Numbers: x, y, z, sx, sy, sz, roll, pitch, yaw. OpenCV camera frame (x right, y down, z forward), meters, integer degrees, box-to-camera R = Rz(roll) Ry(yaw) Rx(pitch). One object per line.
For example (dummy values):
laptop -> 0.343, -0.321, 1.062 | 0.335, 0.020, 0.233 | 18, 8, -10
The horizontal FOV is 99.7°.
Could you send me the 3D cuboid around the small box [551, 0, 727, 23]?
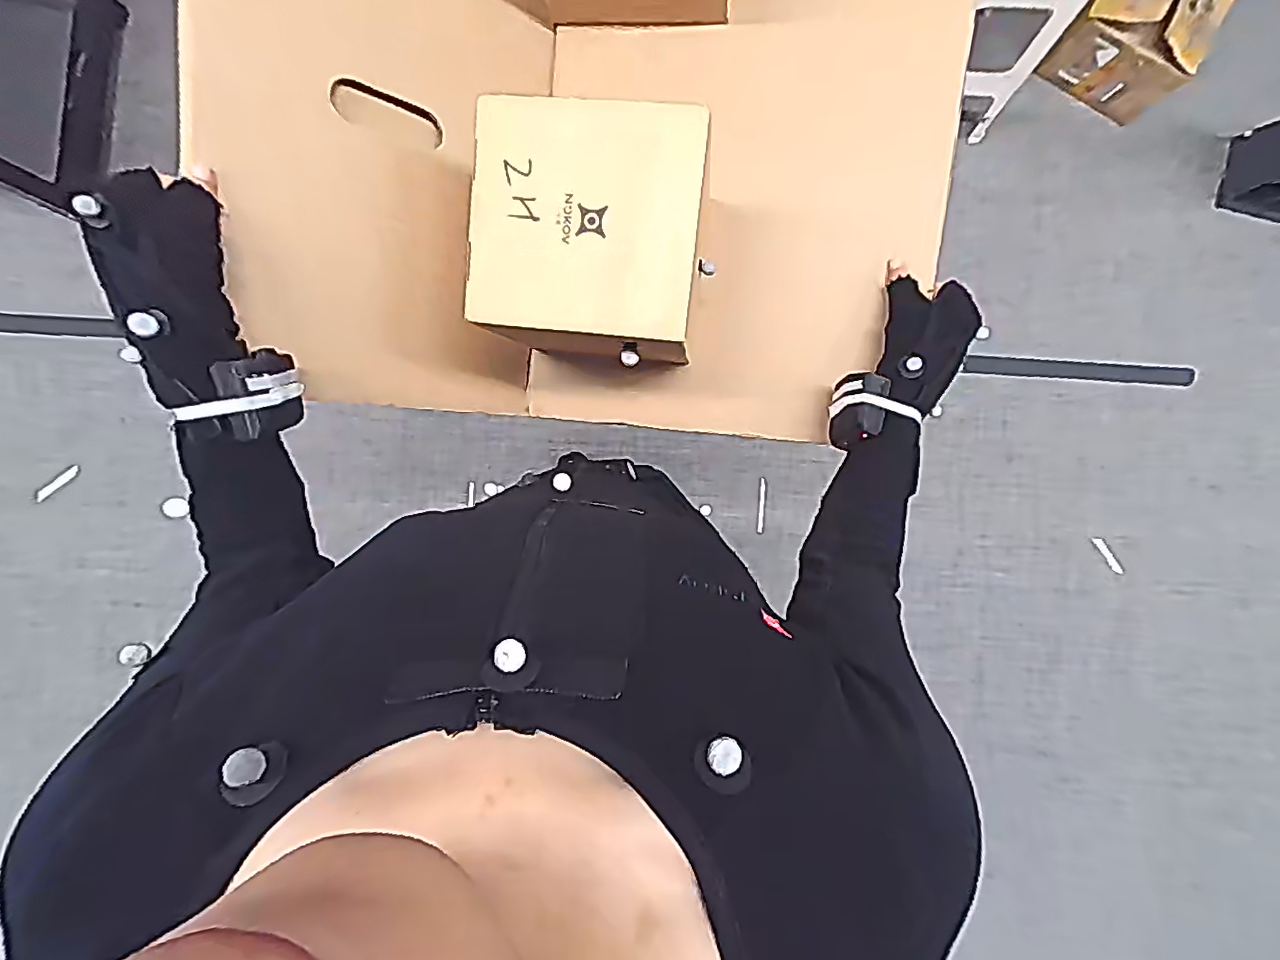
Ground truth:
small box -> -0.006, -0.525, 0.448 | 0.179, 0.176, 0.168 | 5, 98, 6
